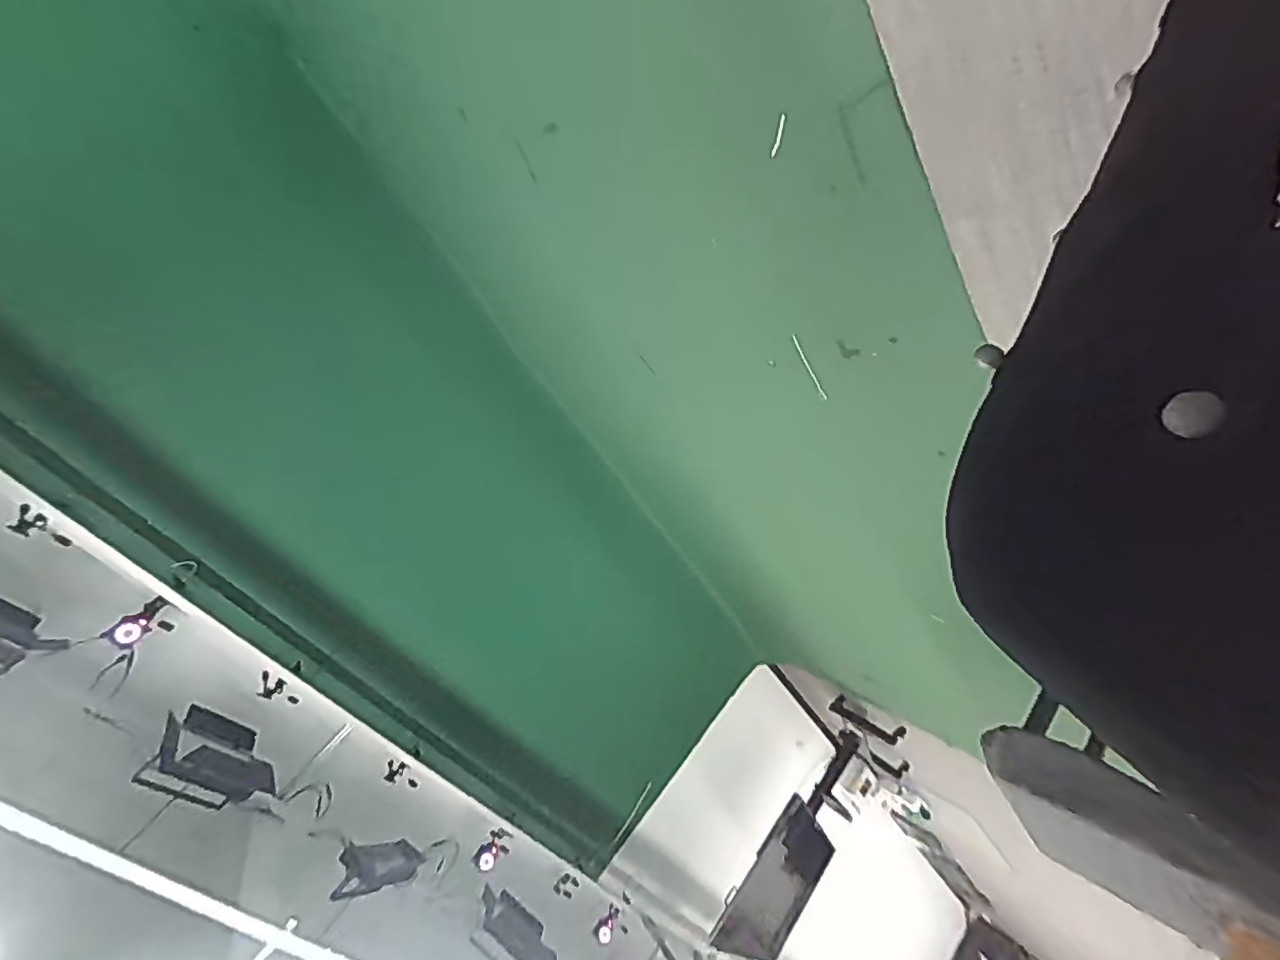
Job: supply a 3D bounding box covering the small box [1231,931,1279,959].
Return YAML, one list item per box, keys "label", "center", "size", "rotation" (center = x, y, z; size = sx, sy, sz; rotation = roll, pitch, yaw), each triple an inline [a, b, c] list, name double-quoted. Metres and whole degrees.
- label: "small box"
  center: [1.572, 1.269, 1.317]
  size: [0.168, 0.176, 0.179]
  rotation: [52, 161, -22]
